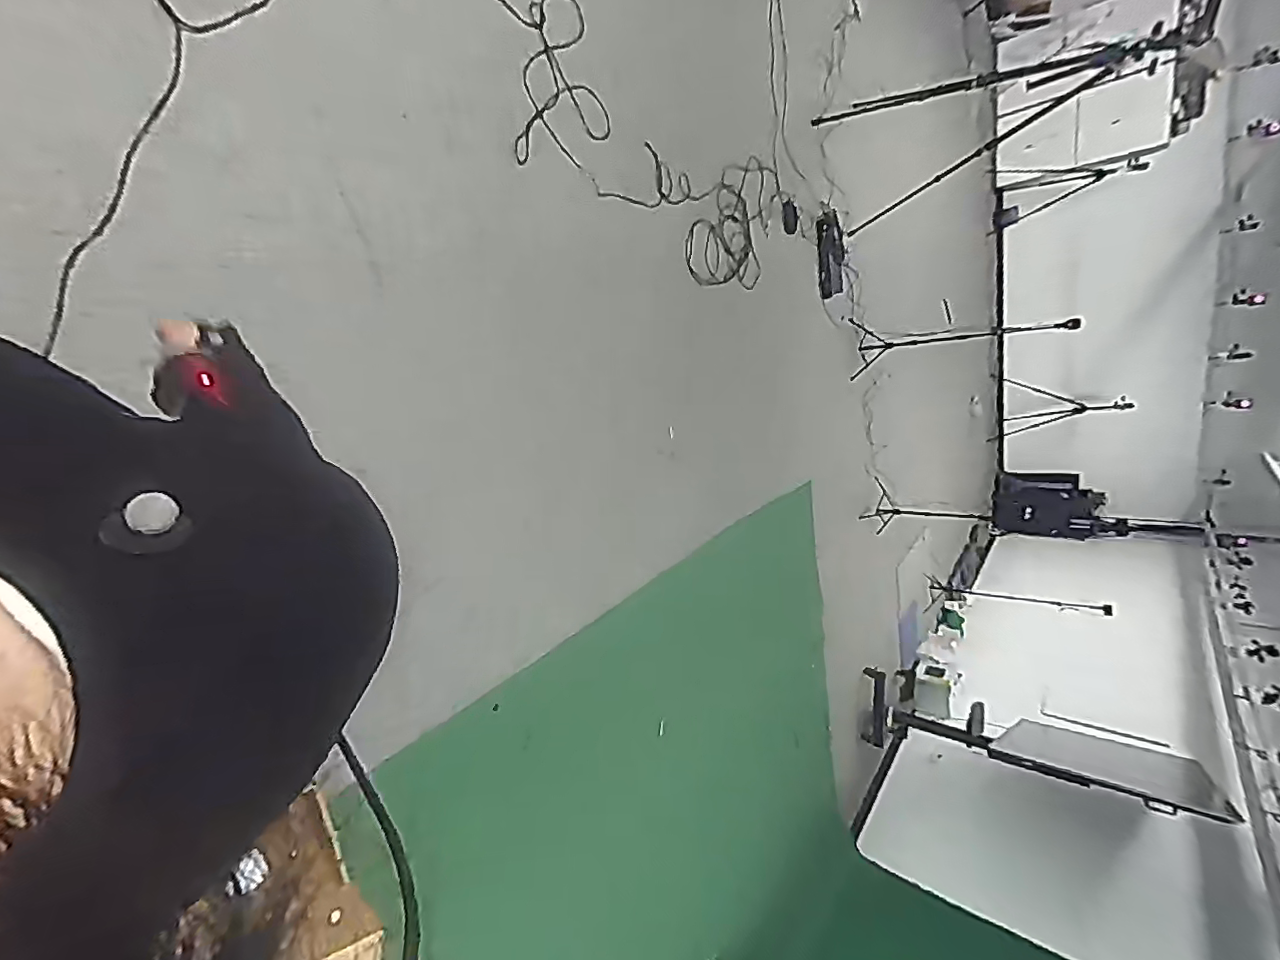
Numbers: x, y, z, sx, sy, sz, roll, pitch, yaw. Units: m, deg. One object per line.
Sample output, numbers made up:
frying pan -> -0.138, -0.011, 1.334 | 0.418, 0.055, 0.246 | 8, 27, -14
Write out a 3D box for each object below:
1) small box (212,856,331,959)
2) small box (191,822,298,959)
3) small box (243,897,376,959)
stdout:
small box -> -0.717, 0.897, 1.078 | 0.168, 0.176, 0.179 | -23, 109, -45
small box -> -0.842, 0.904, 1.185 | 0.168, 0.176, 0.179 | -25, 110, -46
small box -> -0.599, 0.896, 0.967 | 0.168, 0.176, 0.179 | 9, 86, -48
